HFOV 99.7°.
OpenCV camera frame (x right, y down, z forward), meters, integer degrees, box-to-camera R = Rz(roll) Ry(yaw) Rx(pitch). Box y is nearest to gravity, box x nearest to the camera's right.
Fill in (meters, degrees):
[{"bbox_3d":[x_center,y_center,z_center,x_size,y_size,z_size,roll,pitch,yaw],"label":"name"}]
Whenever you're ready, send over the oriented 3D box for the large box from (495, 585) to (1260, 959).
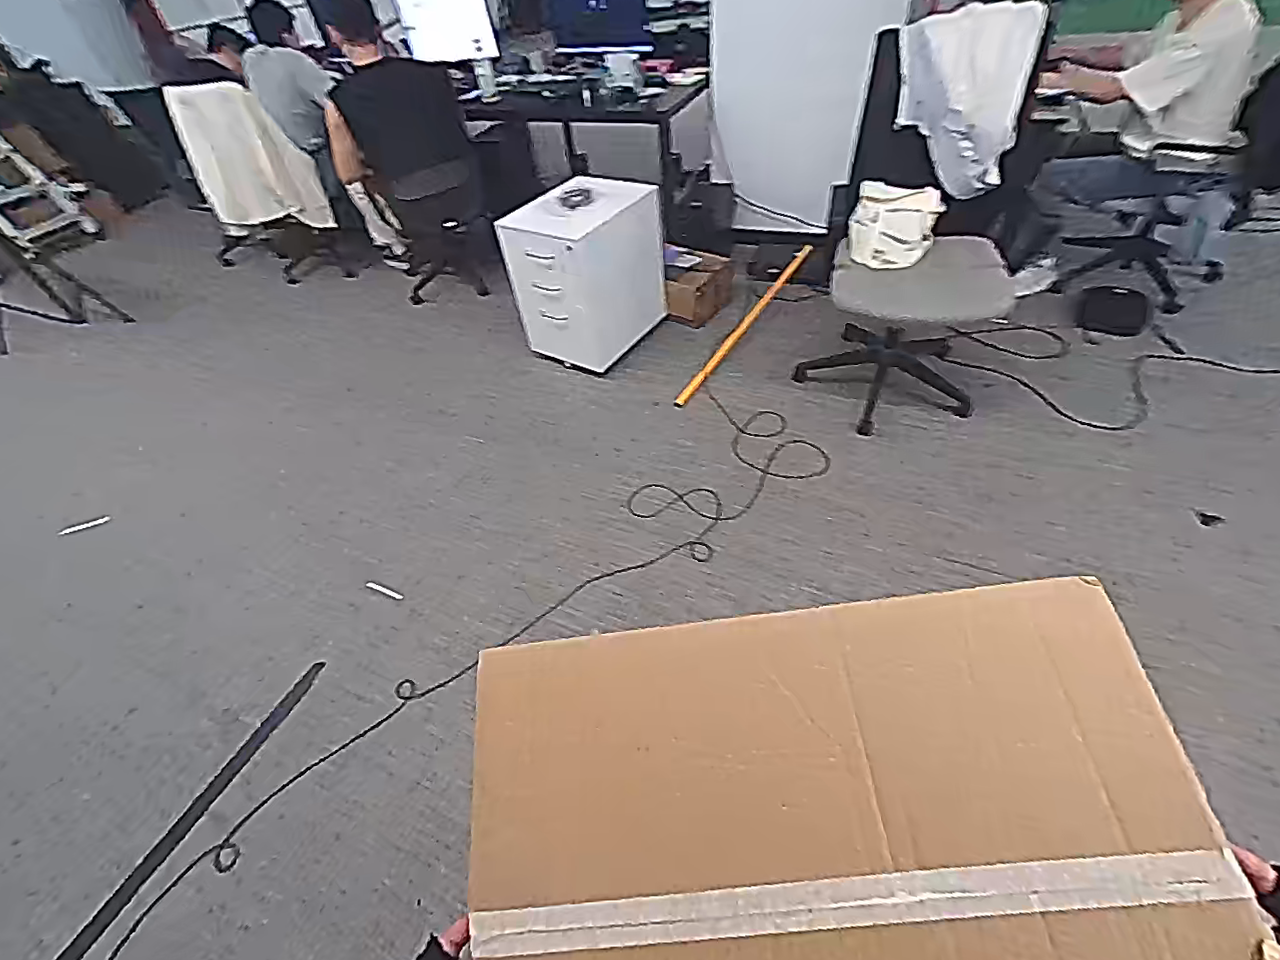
[{"bbox_3d":[0.129,0.300,0.436,0.408,0.320,0.320,-9,65,5],"label":"large box"}]
